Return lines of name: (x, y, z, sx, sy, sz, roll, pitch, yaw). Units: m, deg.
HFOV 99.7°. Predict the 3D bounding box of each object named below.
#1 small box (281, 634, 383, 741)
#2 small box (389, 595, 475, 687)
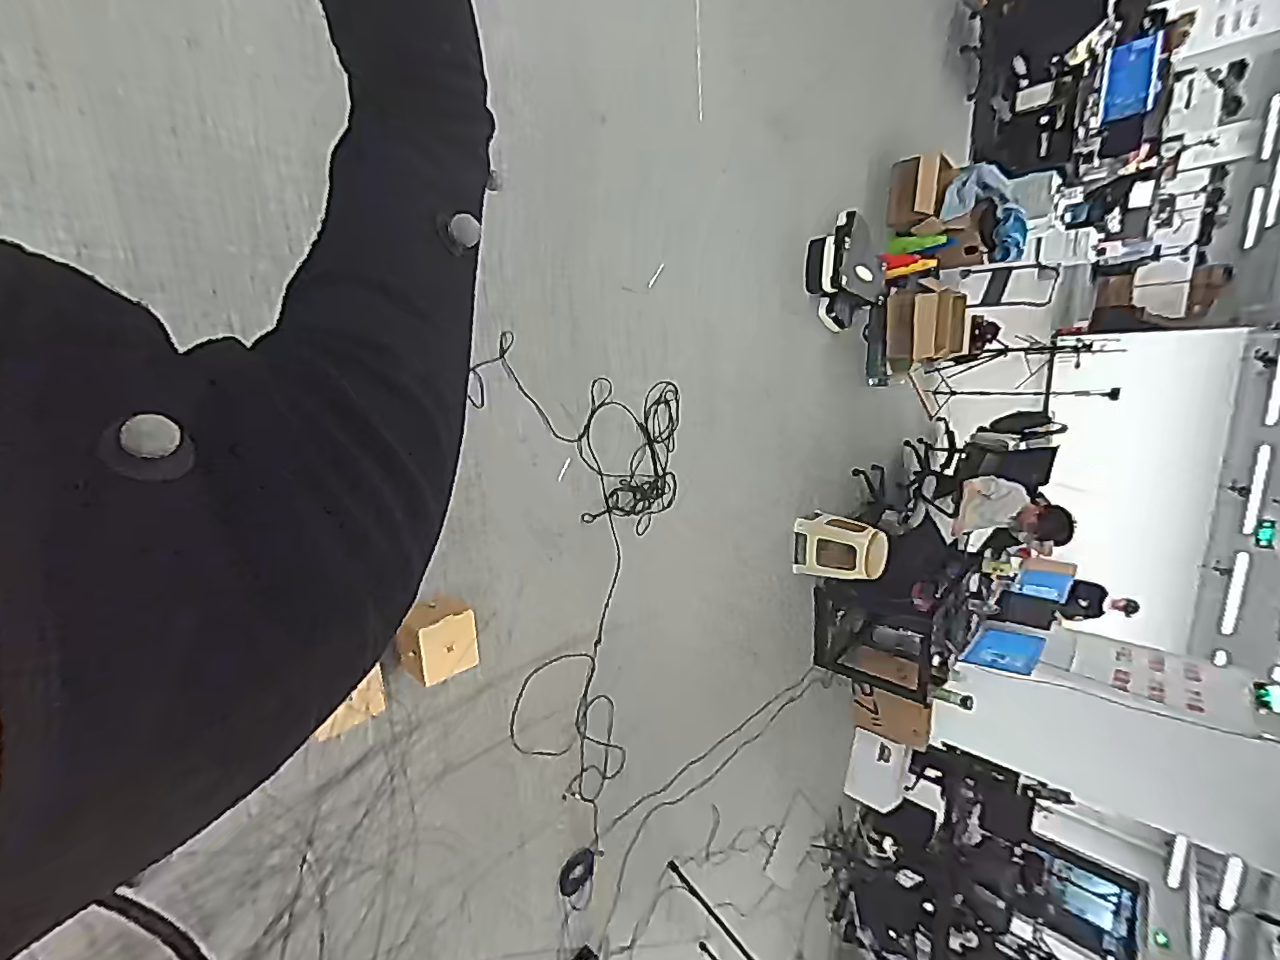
small box: (-0.772, 0.505, 1.352, 0.168, 0.176, 0.179, -16, 109, -45)
small box: (-0.593, 0.450, 1.541, 0.168, 0.176, 0.179, -15, 107, -45)
